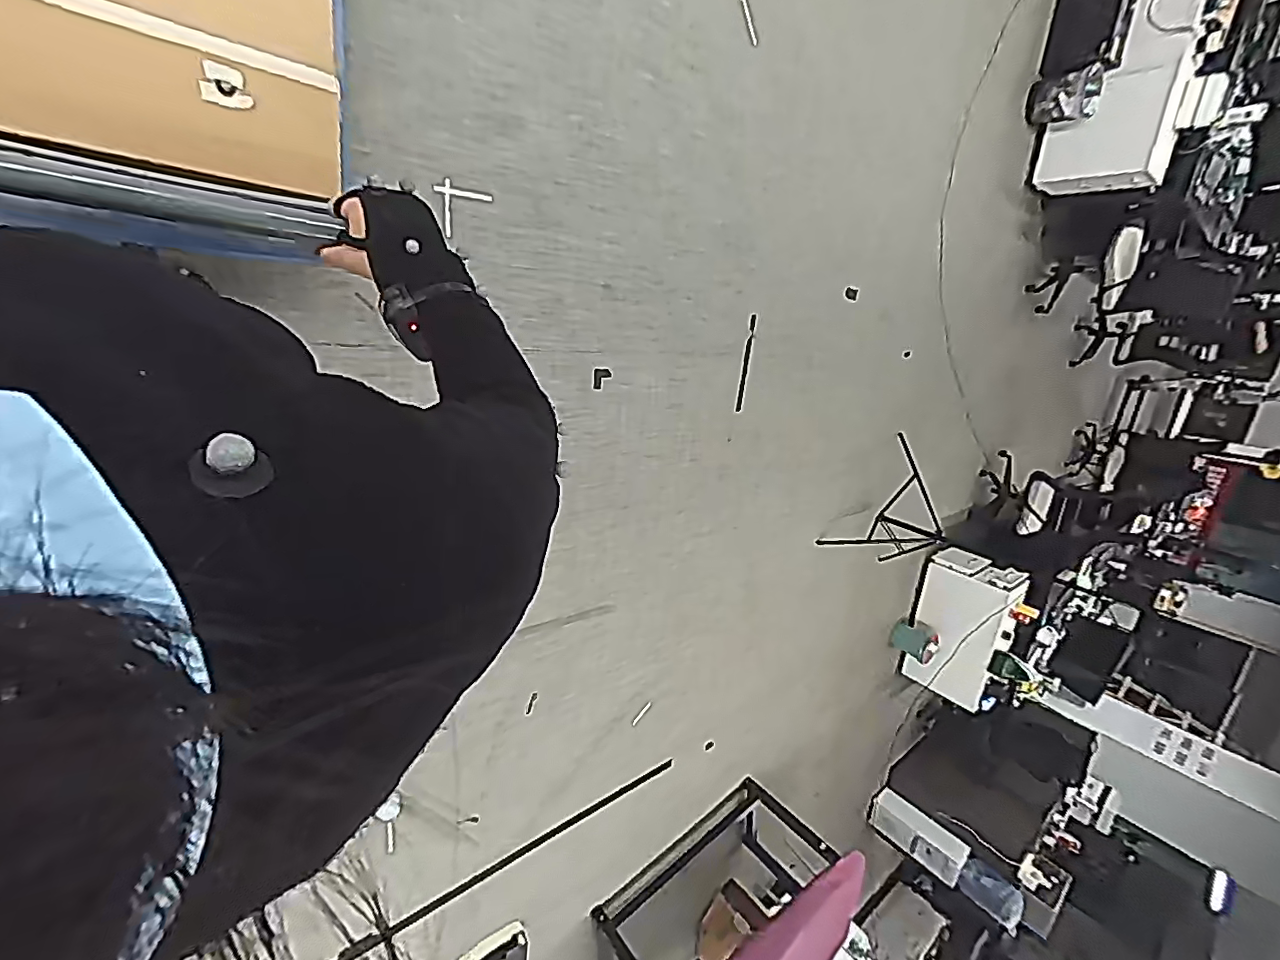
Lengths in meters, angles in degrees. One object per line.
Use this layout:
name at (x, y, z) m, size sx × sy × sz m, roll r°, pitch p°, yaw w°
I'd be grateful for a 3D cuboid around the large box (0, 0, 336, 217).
large box at (-0.701, -0.590, 0.771) m, size 0.408 × 0.320 × 0.320 m, roll -7°, pitch 112°, yaw -40°
